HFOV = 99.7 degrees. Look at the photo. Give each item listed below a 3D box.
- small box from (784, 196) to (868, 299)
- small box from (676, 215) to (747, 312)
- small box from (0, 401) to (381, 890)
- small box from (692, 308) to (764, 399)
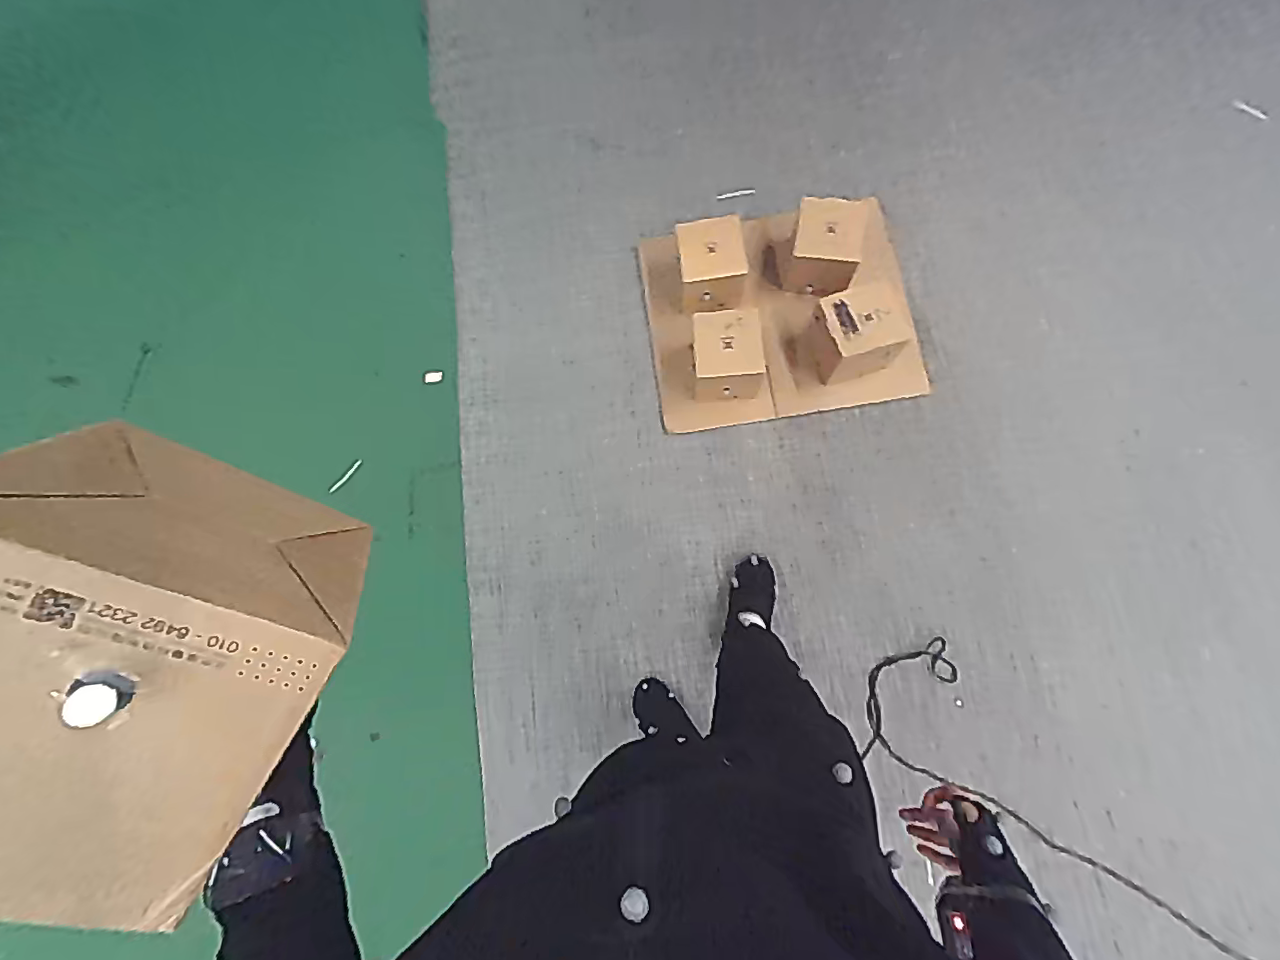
[{"bbox_3d":[0.484,-0.609,1.427,0.168,0.176,0.179,10,78,8],"label":"small box"},{"bbox_3d":[0.190,-0.571,1.454,0.168,0.176,0.179,-7,76,4],"label":"small box"},{"bbox_3d":[-0.268,0.072,0.304,0.168,0.179,0.176,32,91,-26],"label":"small box"},{"bbox_3d":[0.222,-0.316,1.389,0.168,0.176,0.179,-3,76,5],"label":"small box"}]
